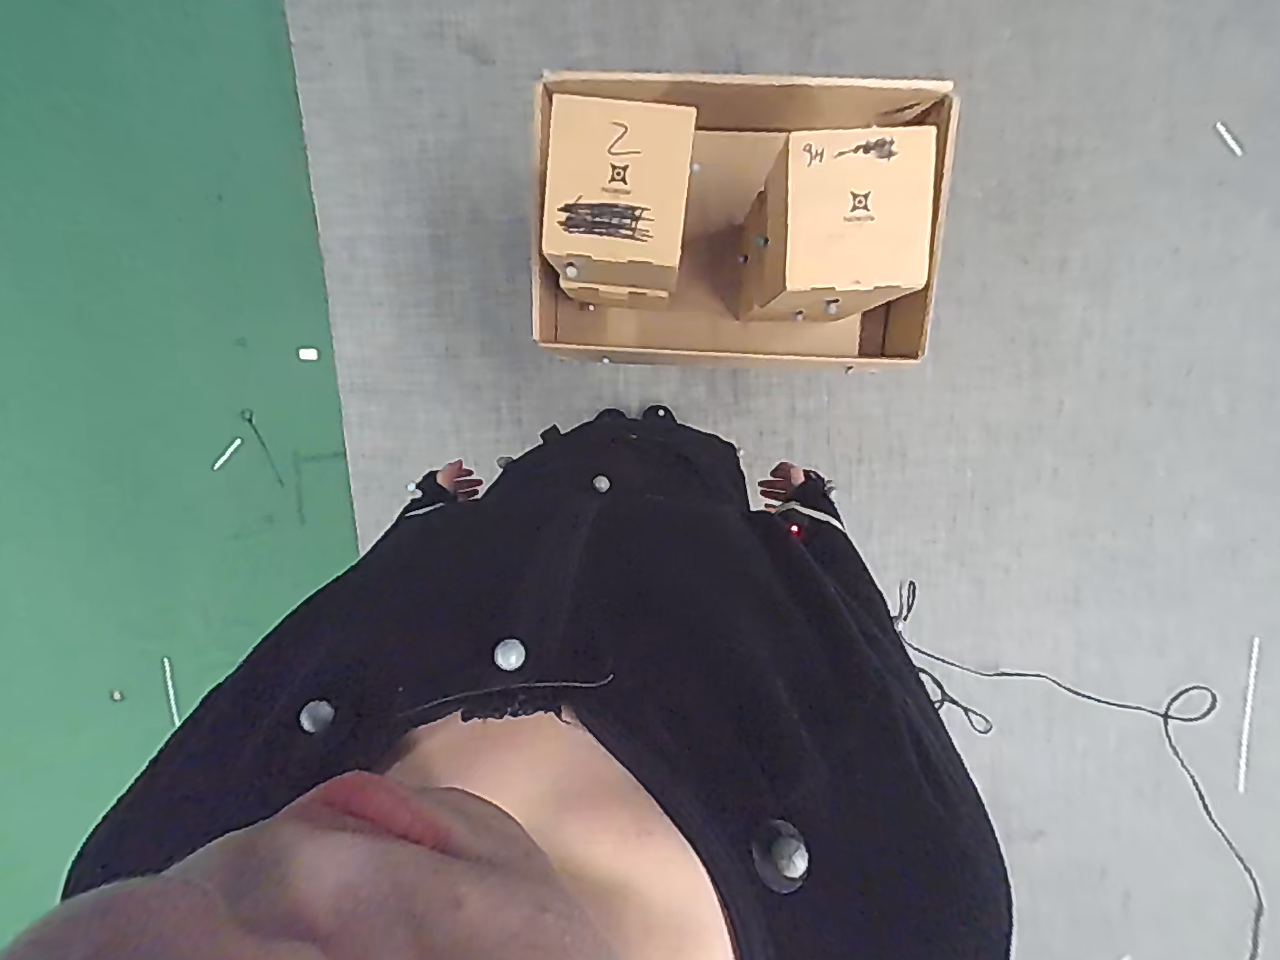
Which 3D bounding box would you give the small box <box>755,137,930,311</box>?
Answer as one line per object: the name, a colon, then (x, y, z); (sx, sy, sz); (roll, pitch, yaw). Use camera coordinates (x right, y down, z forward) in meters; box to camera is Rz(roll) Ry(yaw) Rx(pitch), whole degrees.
small box: (0.250, -0.320, 0.710); (0.168, 0.176, 0.179); (0, 101, 1)
